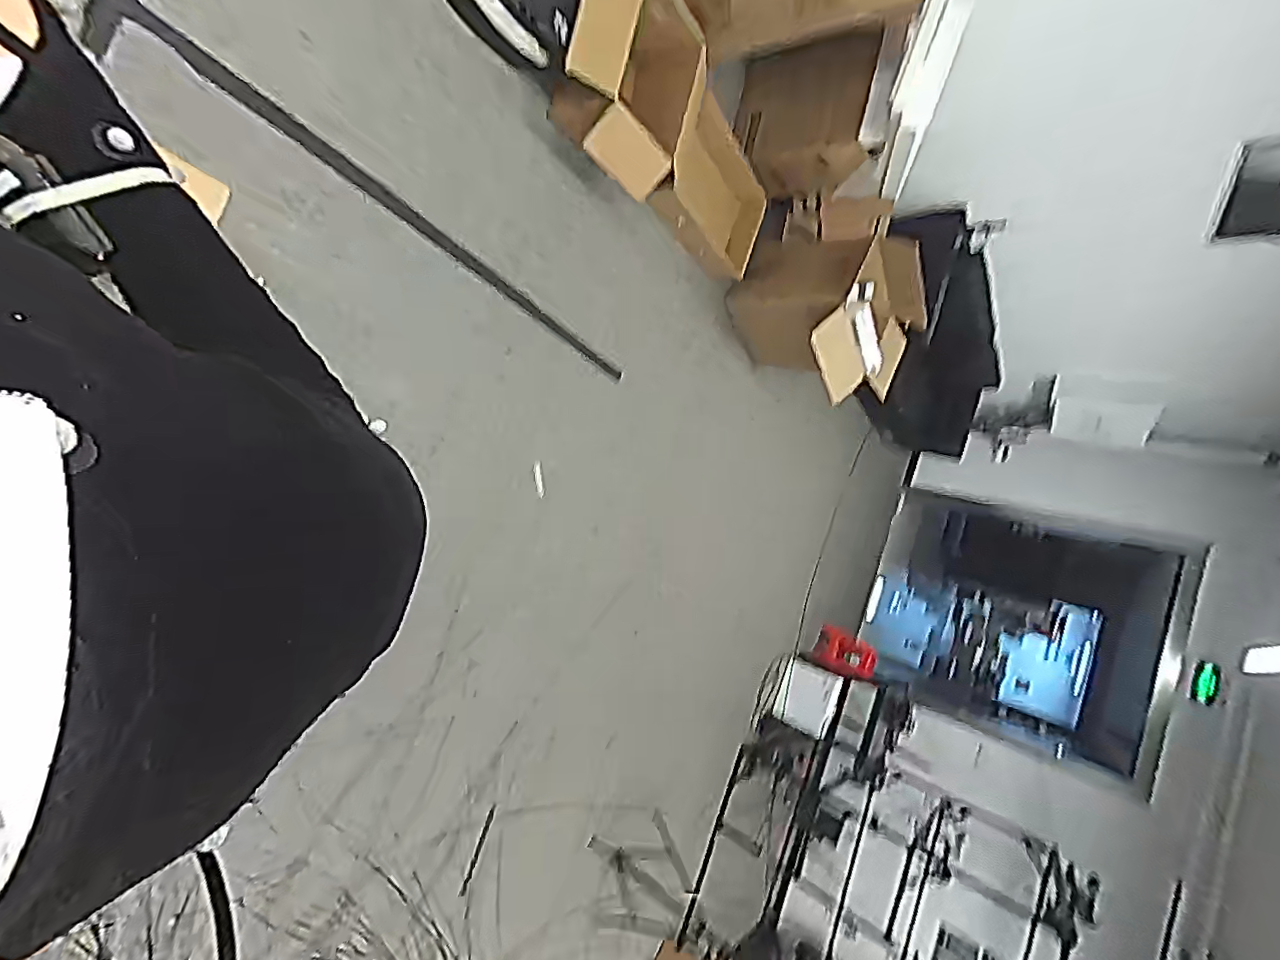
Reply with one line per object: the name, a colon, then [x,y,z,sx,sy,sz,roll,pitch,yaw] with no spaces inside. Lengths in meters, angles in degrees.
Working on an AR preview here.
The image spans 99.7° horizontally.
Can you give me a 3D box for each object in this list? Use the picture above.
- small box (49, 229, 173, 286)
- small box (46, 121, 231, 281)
small box: [-0.962,-0.482,1.013,0.168,0.176,0.179,24,83,-52]
small box: [-0.840,-0.448,0.905,0.179,0.176,0.168,25,82,-53]
